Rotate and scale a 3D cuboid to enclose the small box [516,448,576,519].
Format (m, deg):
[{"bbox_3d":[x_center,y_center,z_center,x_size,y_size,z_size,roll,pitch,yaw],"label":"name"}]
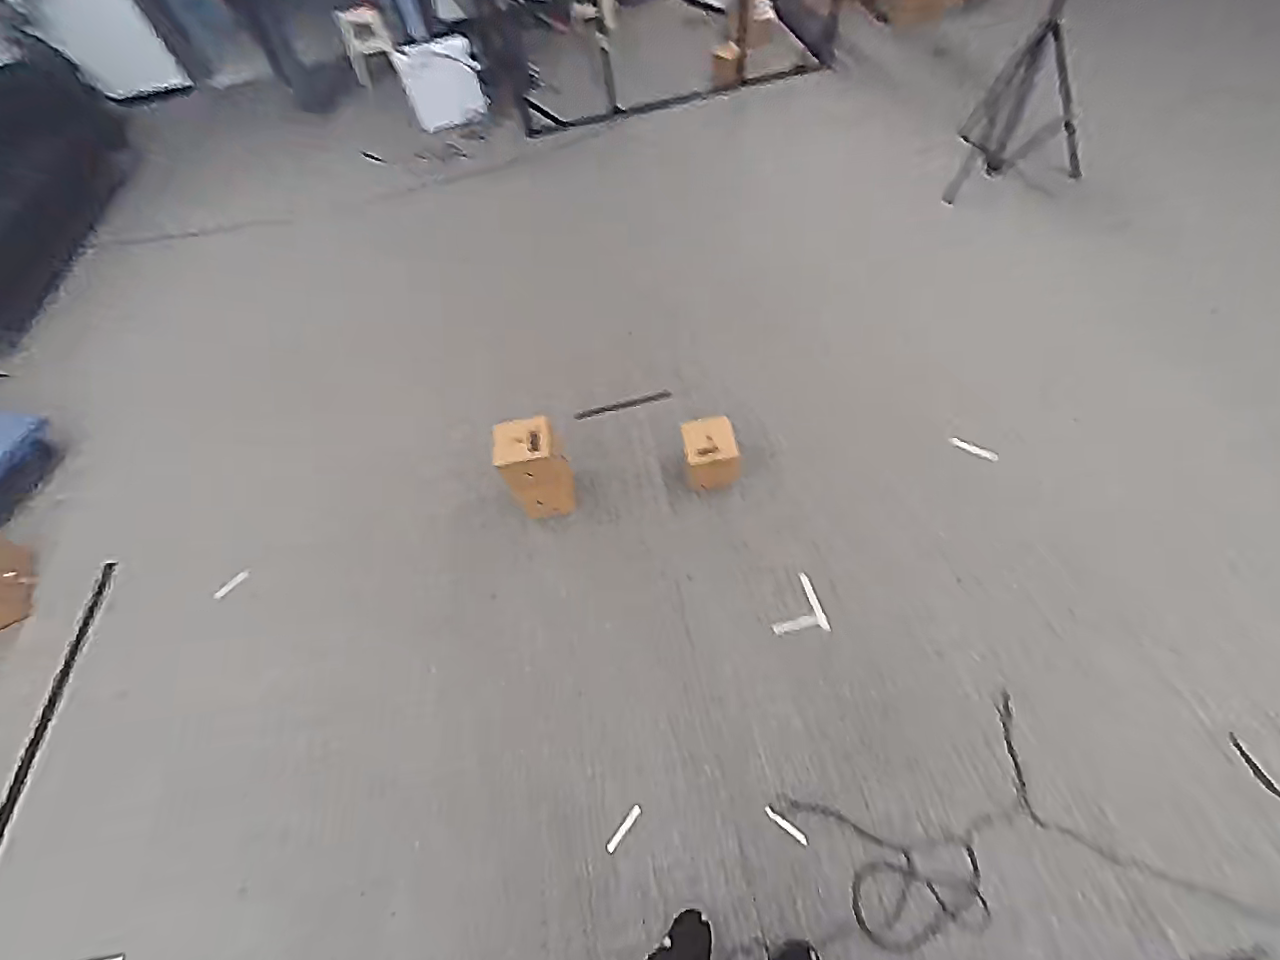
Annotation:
[{"bbox_3d":[-0.325,0.020,1.873,0.168,0.176,0.179,-12,55,2],"label":"small box"}]

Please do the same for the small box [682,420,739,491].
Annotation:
[{"bbox_3d":[0.240,-0.076,1.843,0.168,0.176,0.179,-9,55,2],"label":"small box"}]
